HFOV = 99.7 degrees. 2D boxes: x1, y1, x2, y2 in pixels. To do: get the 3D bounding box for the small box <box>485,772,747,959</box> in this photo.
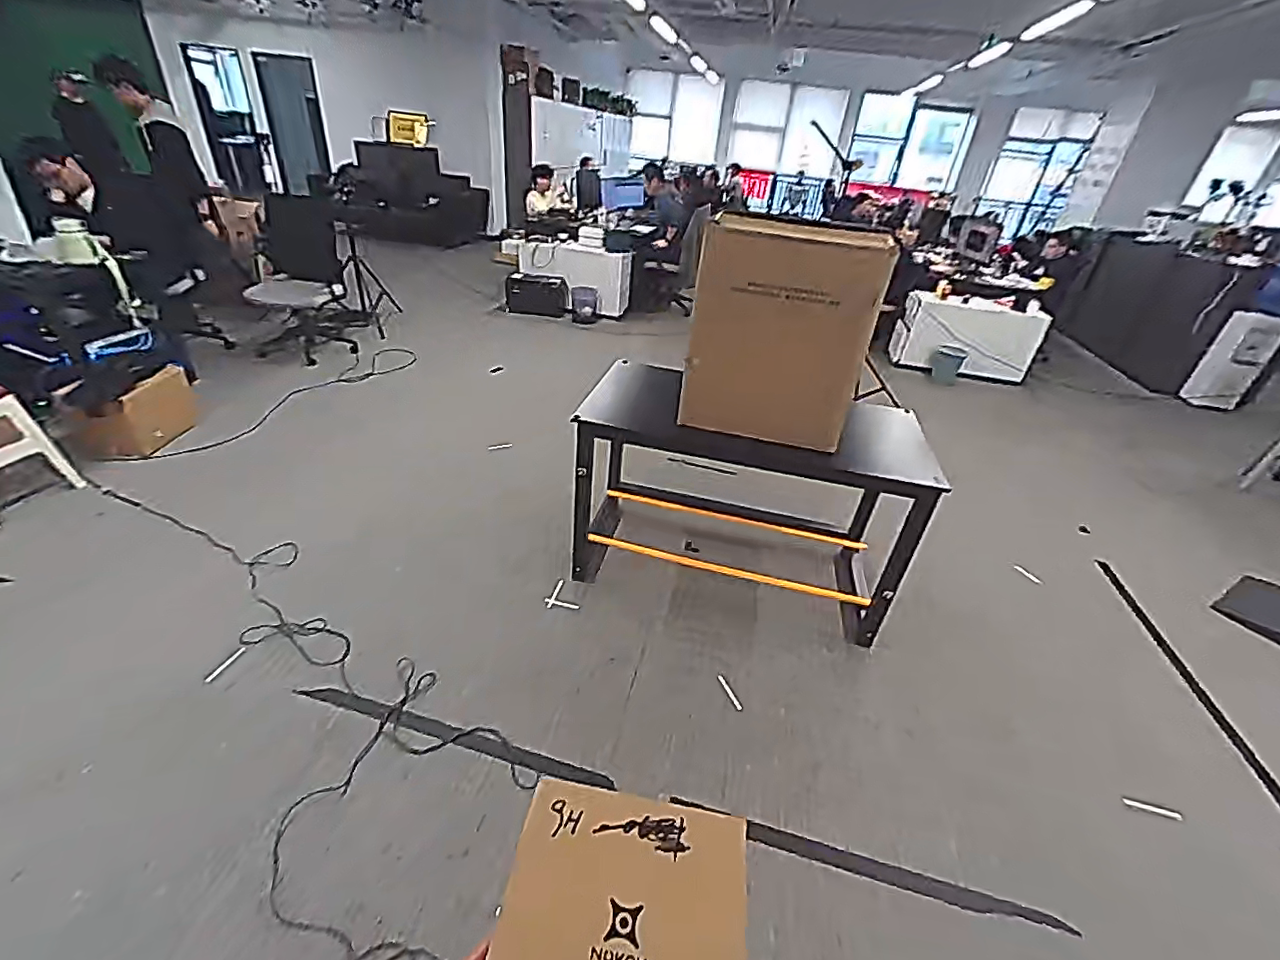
[{"bbox_3d":[-0.018,0.358,0.409,0.168,0.176,0.179,9,41,5],"label":"small box"}]
